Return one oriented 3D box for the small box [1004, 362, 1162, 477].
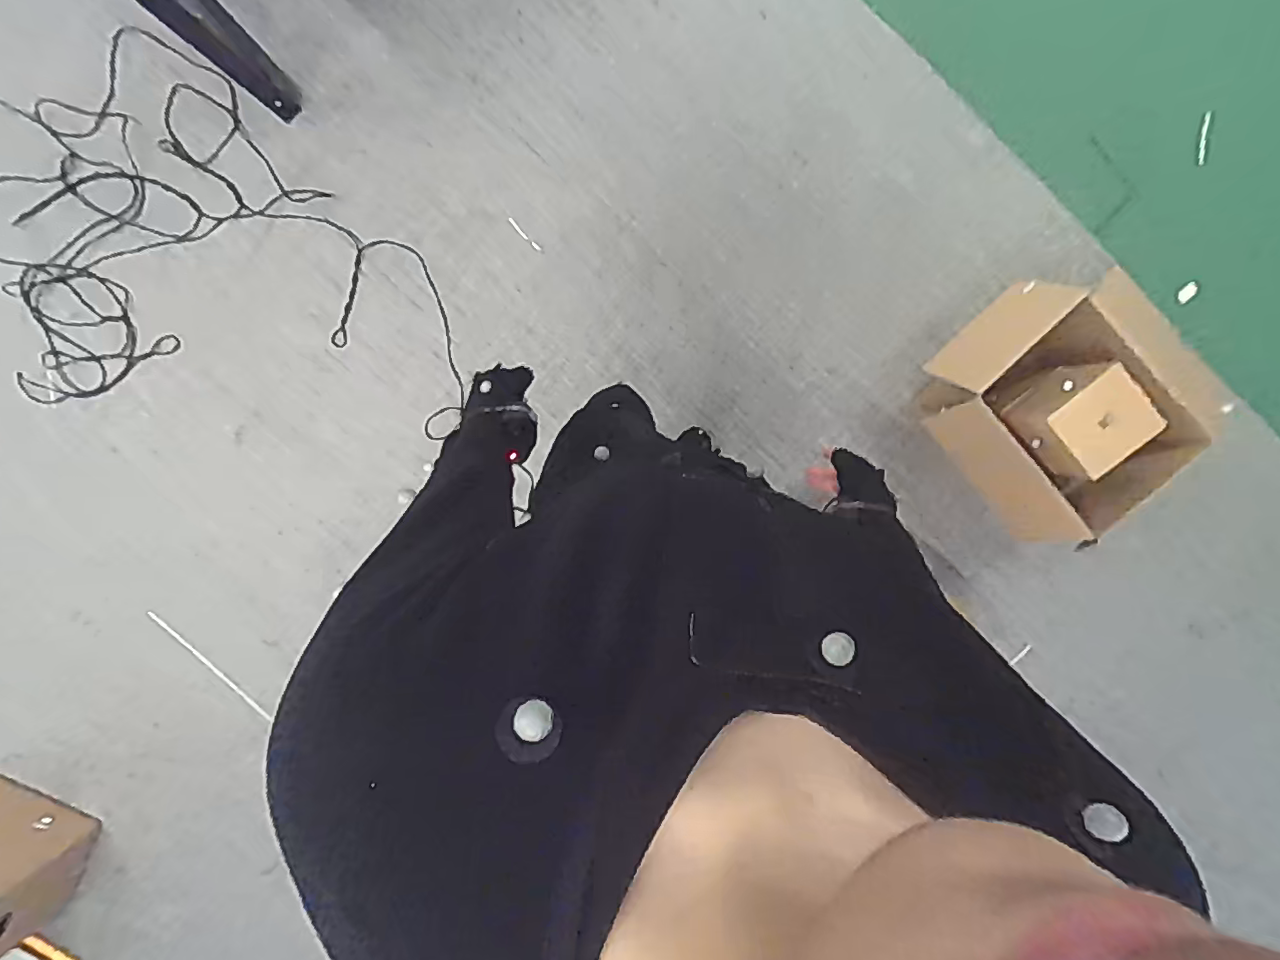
[{"bbox_3d":[0.933,-0.127,1.166,0.179,0.176,0.168,-41,93,5],"label":"small box"}]
